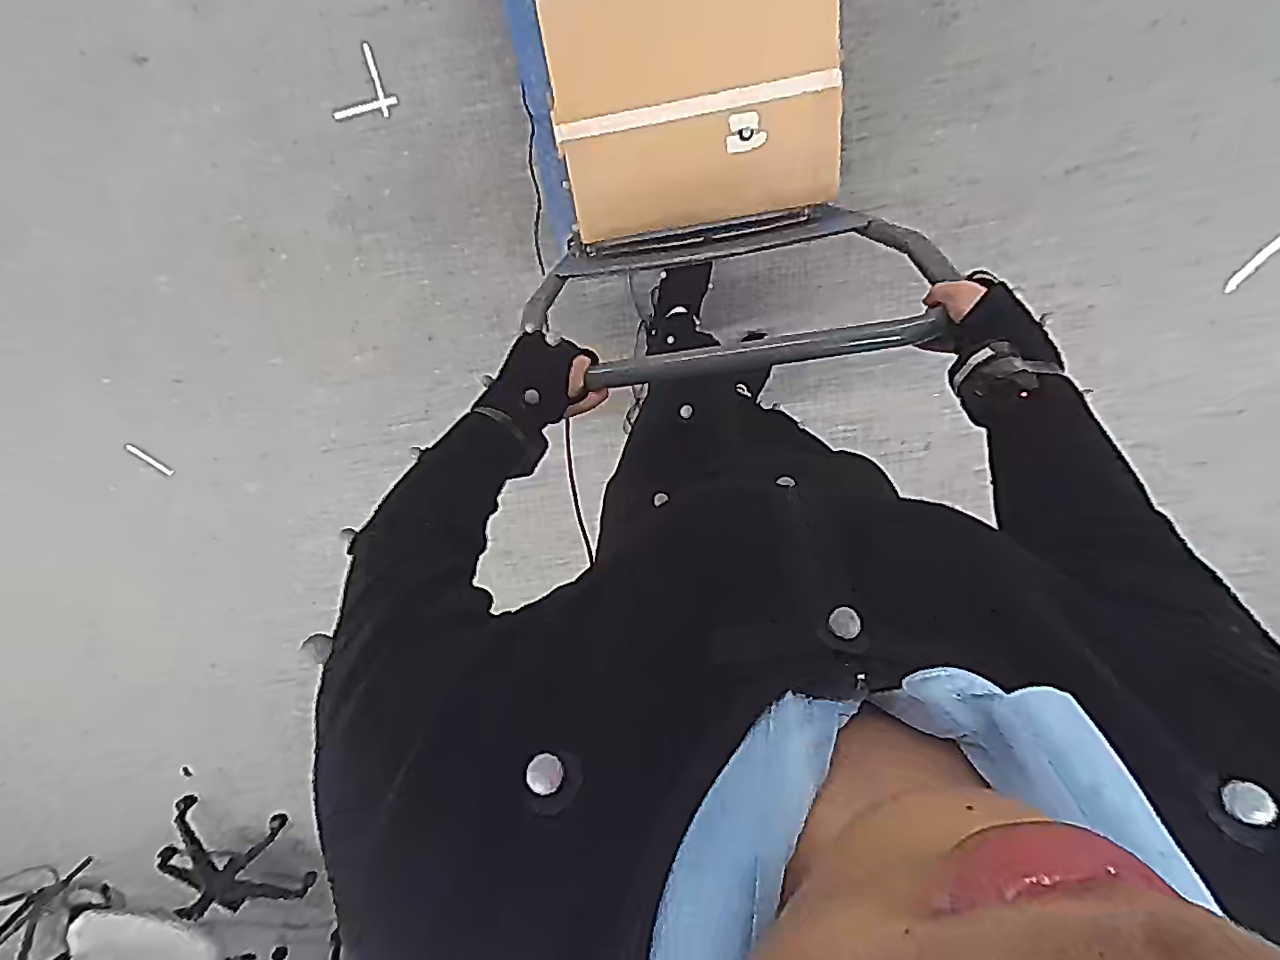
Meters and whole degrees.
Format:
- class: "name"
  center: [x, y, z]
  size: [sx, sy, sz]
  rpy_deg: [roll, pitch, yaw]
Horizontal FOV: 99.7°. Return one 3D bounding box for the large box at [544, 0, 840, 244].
- class: "large box"
  center: [0.089, -0.614, 0.917]
  size: [0.408, 0.320, 0.320]
  rpy_deg: [-8, 119, 6]
